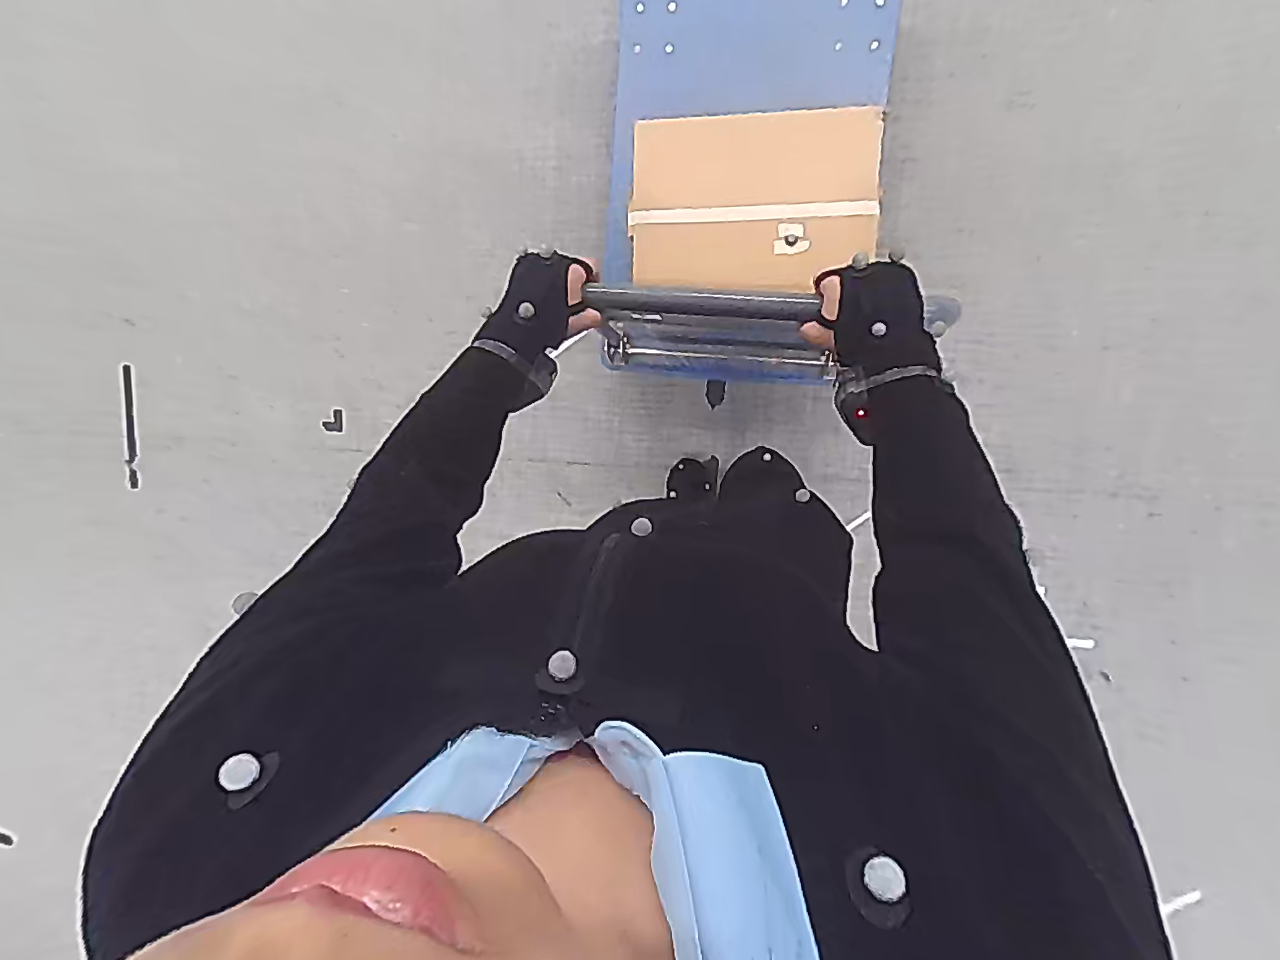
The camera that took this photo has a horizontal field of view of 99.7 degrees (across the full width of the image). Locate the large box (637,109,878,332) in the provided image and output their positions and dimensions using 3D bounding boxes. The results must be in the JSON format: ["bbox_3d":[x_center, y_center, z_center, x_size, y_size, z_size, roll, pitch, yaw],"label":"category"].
[{"bbox_3d":[0.210,-0.474,1.069,0.408,0.320,0.320,2,99,7],"label":"large box"}]
